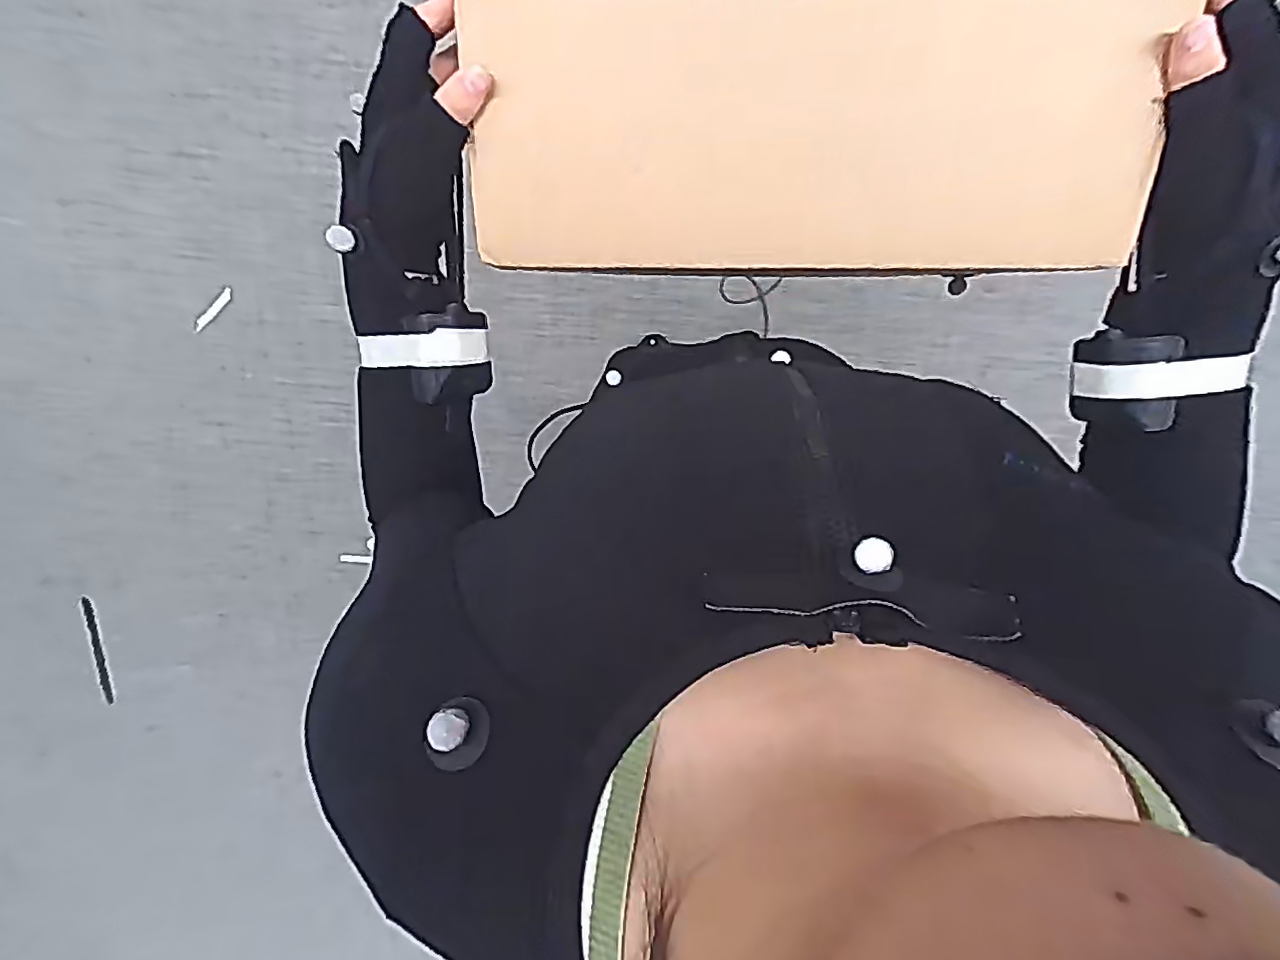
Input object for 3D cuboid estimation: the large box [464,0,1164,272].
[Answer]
[{"bbox_3d":[0.101,-0.338,0.438,0.408,0.320,0.320,1,110,1],"label":"large box"}]
